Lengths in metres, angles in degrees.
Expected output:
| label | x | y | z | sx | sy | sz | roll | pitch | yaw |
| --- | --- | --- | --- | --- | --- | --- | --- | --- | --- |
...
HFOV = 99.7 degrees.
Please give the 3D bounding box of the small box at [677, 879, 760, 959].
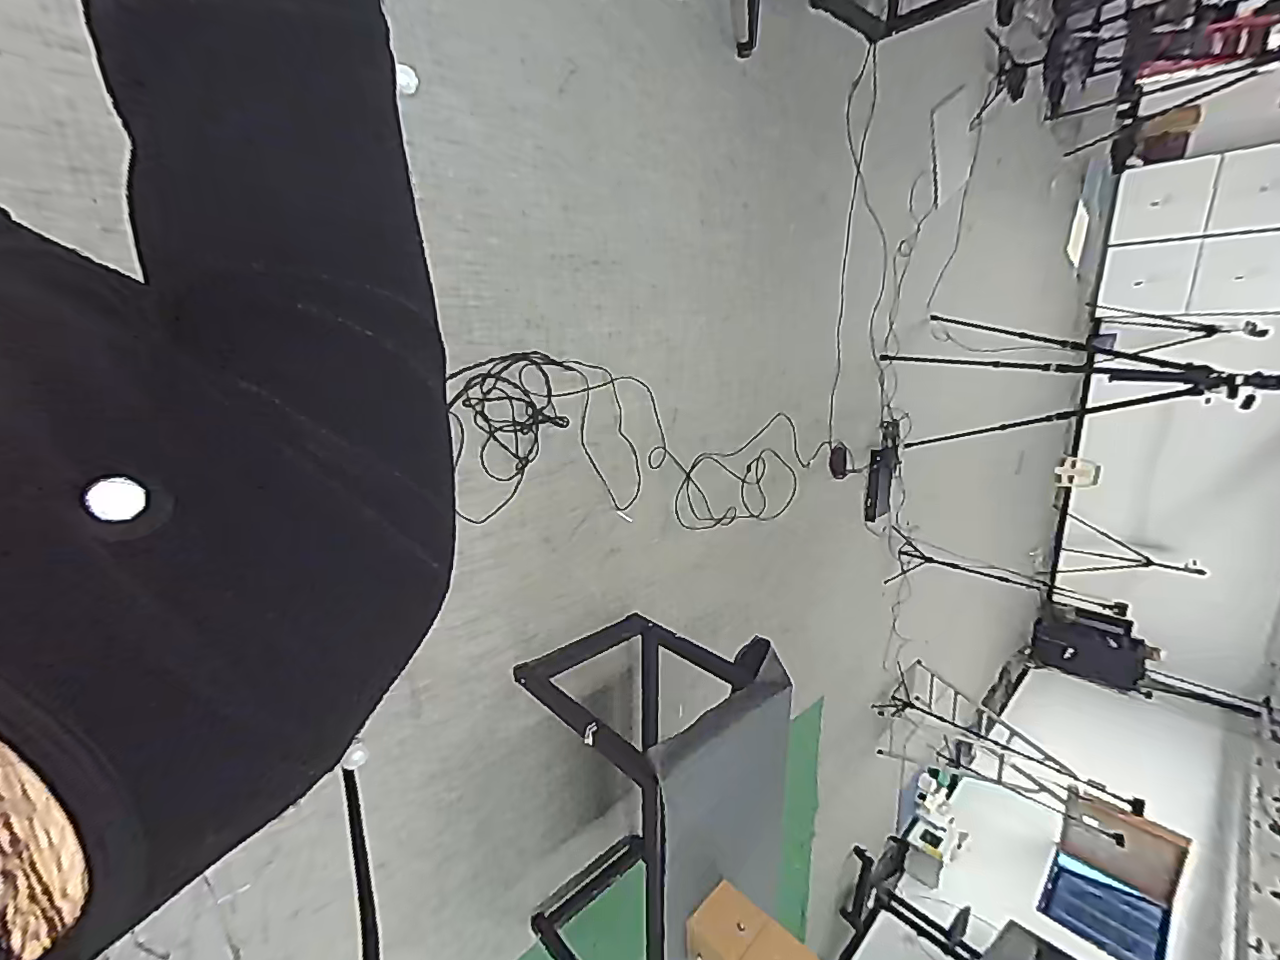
| label | x | y | z | sx | sy | sz | roll | pitch | yaw |
| --- | --- | --- | --- | --- | --- | --- | --- | --- | --- |
| small box | 0.224 | 1.309 | 1.551 | 0.179 | 0.176 | 0.168 | -18 | 112 | -41 |
